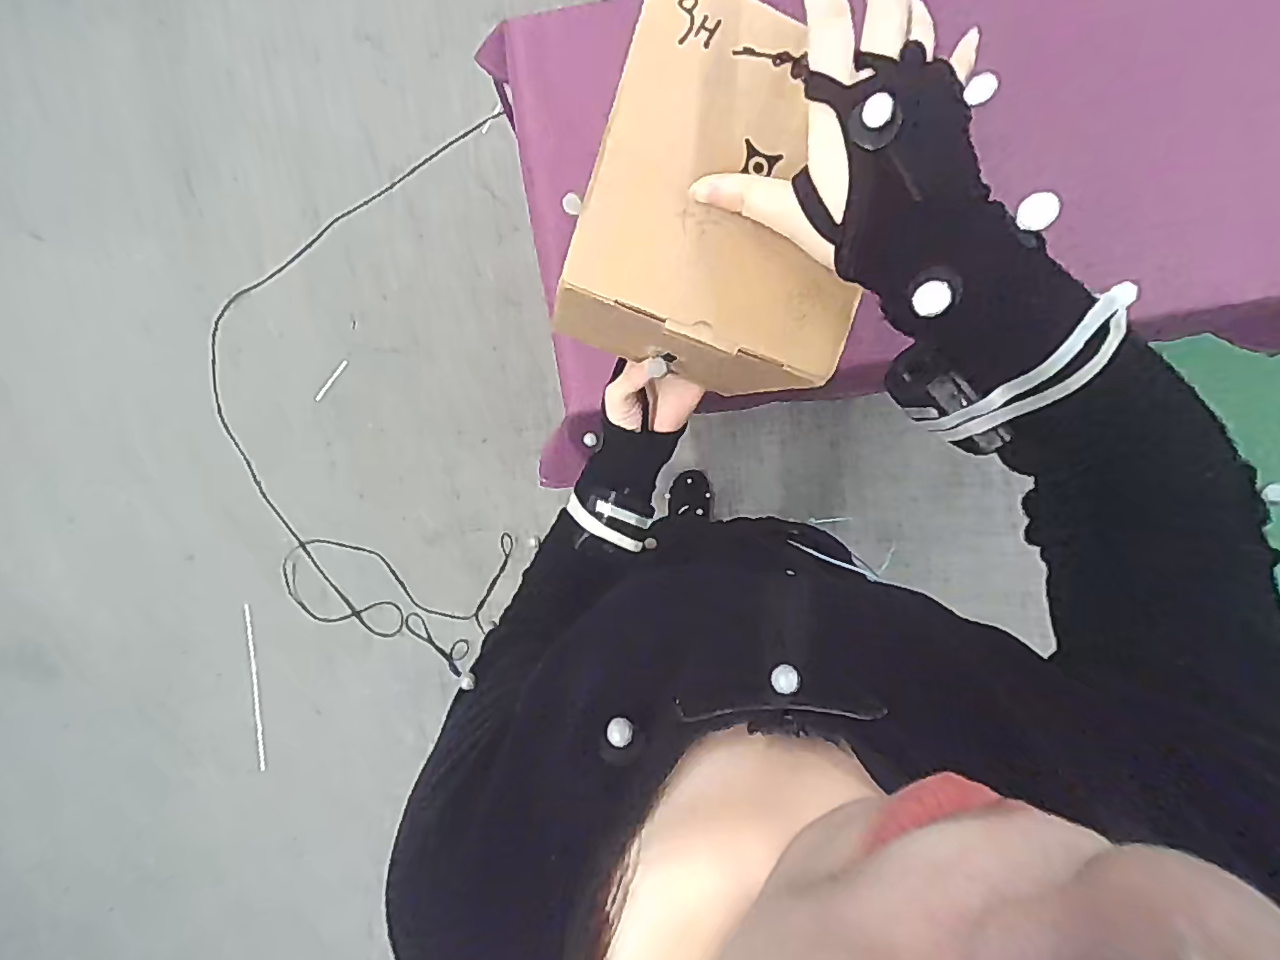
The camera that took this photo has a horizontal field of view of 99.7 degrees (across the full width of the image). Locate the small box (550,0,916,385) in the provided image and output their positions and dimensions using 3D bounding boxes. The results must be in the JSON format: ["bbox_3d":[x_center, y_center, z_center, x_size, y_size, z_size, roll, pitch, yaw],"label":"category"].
[{"bbox_3d":[0.041,-0.172,0.375,0.168,0.176,0.179,17,94,-13],"label":"small box"}]
